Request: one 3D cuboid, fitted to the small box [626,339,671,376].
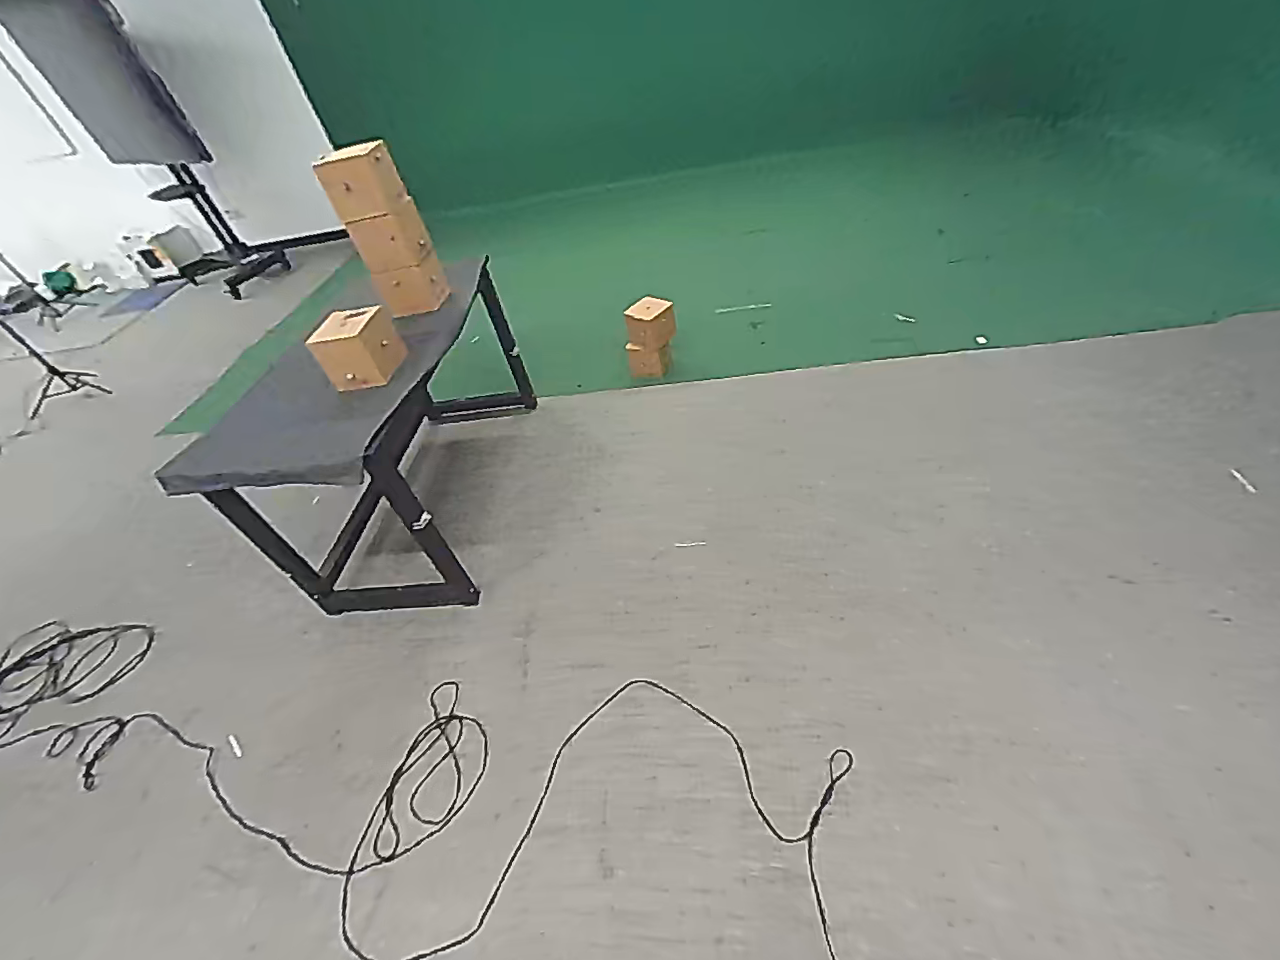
[{"bbox_3d":[0.047,-0.633,2.688,0.168,0.176,0.179,8,48,20],"label":"small box"}]

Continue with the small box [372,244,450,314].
[{"bbox_3d":[-0.800,-0.708,1.912,0.179,0.176,0.168,-6,45,10],"label":"small box"}]

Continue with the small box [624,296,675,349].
[{"bbox_3d":[0.051,-0.745,2.566,0.168,0.176,0.179,27,56,32],"label":"small box"}]

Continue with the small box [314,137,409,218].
[{"bbox_3d":[-0.859,-0.936,1.684,0.179,0.176,0.168,-8,45,8],"label":"small box"}]

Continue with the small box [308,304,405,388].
[{"bbox_3d":[-0.824,-0.393,1.597,0.168,0.176,0.179,-5,45,10],"label":"small box"}]
